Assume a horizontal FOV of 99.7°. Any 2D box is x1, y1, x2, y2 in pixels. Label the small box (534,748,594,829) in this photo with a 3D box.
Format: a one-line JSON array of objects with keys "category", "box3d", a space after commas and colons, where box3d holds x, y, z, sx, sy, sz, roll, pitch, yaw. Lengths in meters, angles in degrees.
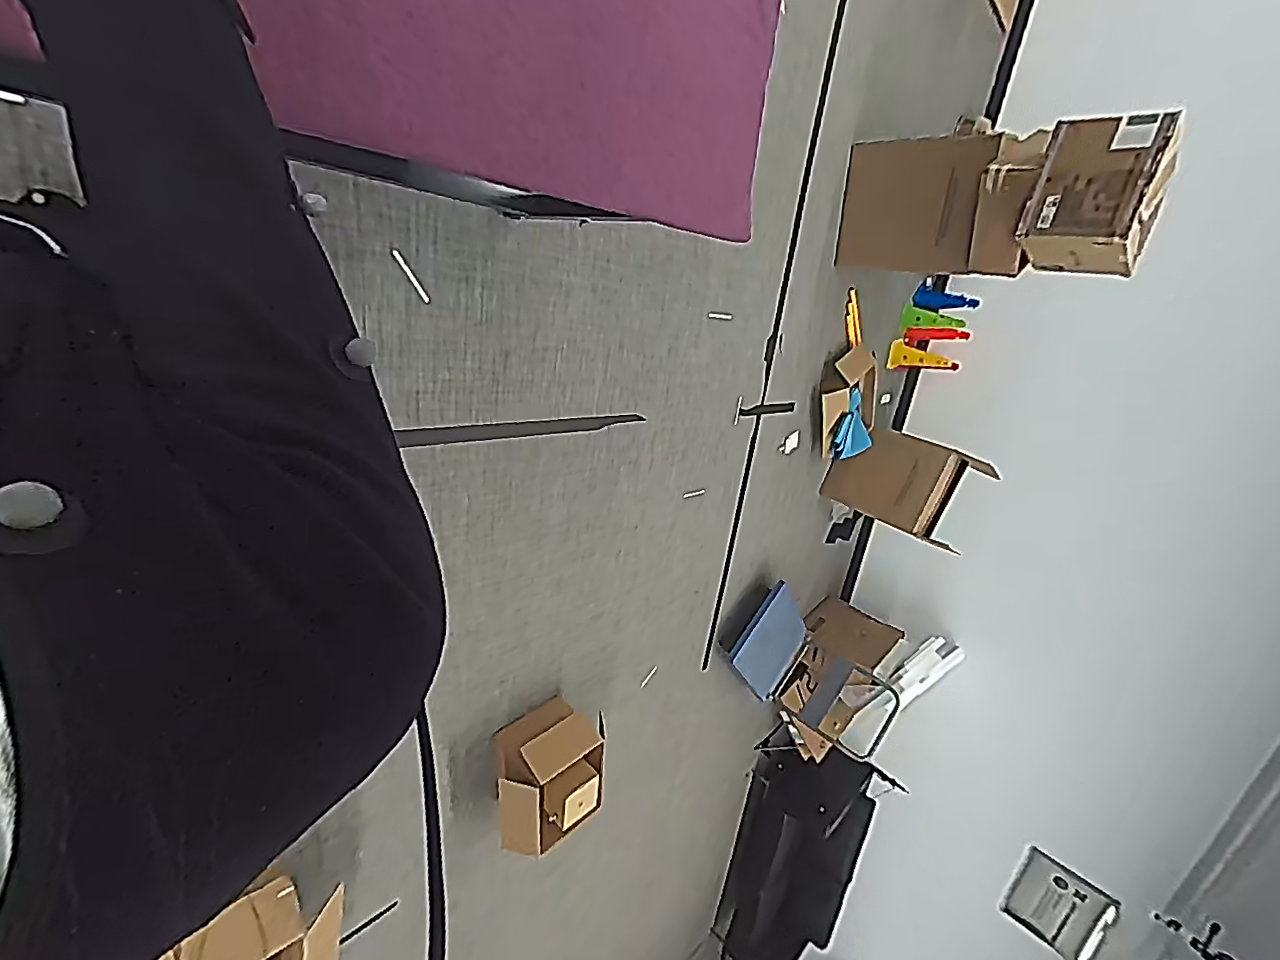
[{"category": "small box", "box3d": [-0.302, 1.198, 2.111, 0.168, 0.176, 0.179, -15, 119, -44]}]
